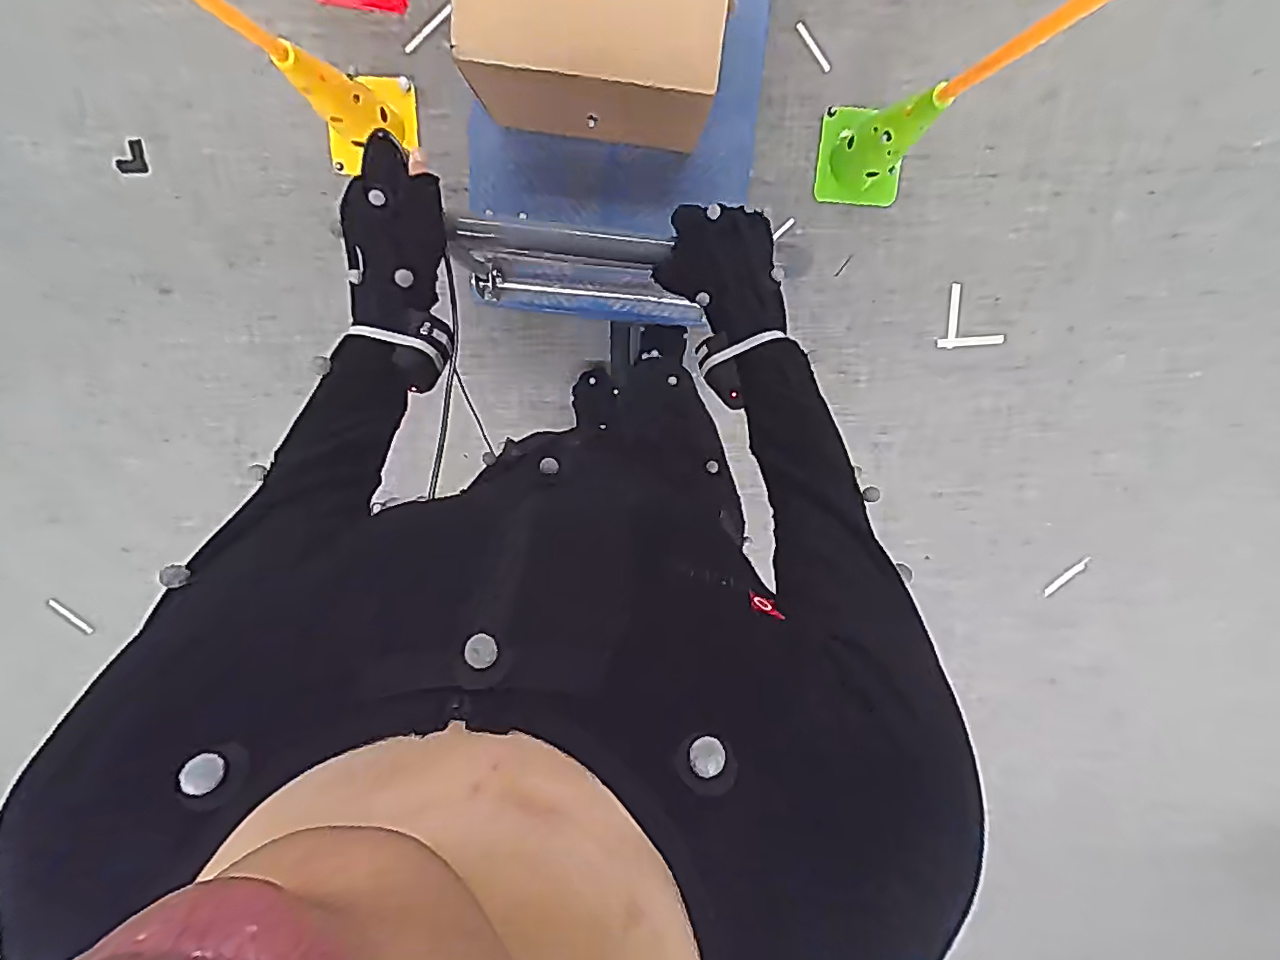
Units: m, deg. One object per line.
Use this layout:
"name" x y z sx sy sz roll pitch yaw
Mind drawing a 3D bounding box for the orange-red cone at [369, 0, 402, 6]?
"orange-red cone" -0.588 -1.085 0.975 0.198 0.360 0.199 6 105 -4

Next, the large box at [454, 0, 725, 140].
"large box" -0.068 -0.810 0.918 0.408 0.320 0.320 6 107 -3

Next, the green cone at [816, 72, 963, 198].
"green cone" 0.528 -0.731 1.108 0.202 0.368 0.200 2 106 -3
